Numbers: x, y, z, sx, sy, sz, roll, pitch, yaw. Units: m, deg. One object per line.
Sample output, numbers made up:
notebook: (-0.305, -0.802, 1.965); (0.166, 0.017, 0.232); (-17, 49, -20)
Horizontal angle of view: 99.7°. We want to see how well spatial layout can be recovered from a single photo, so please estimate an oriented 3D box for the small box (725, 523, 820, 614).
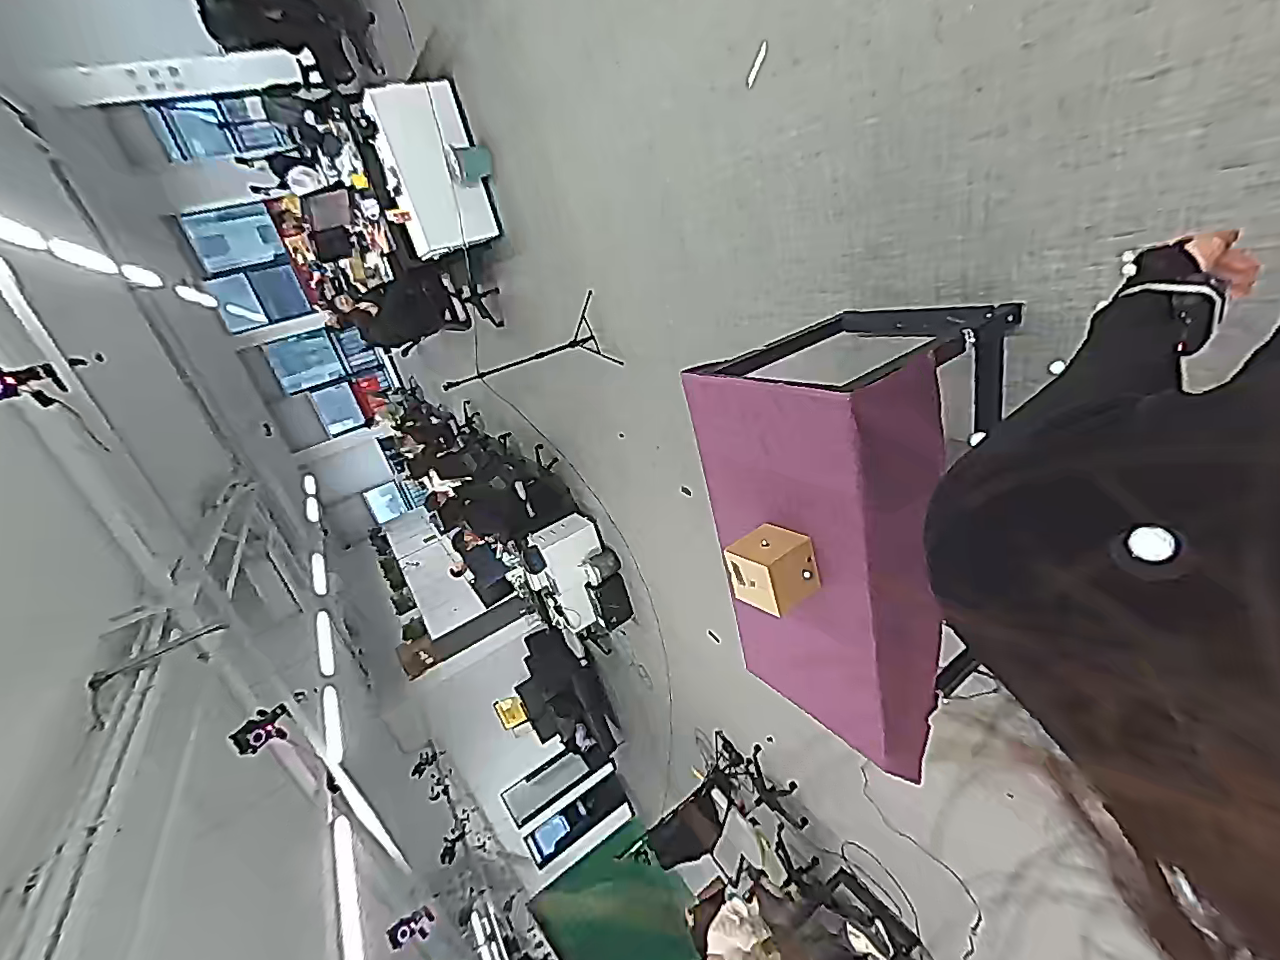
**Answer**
small box: (0.370, 0.237, 1.509); (0.179, 0.176, 0.168); (15, 128, 58)
